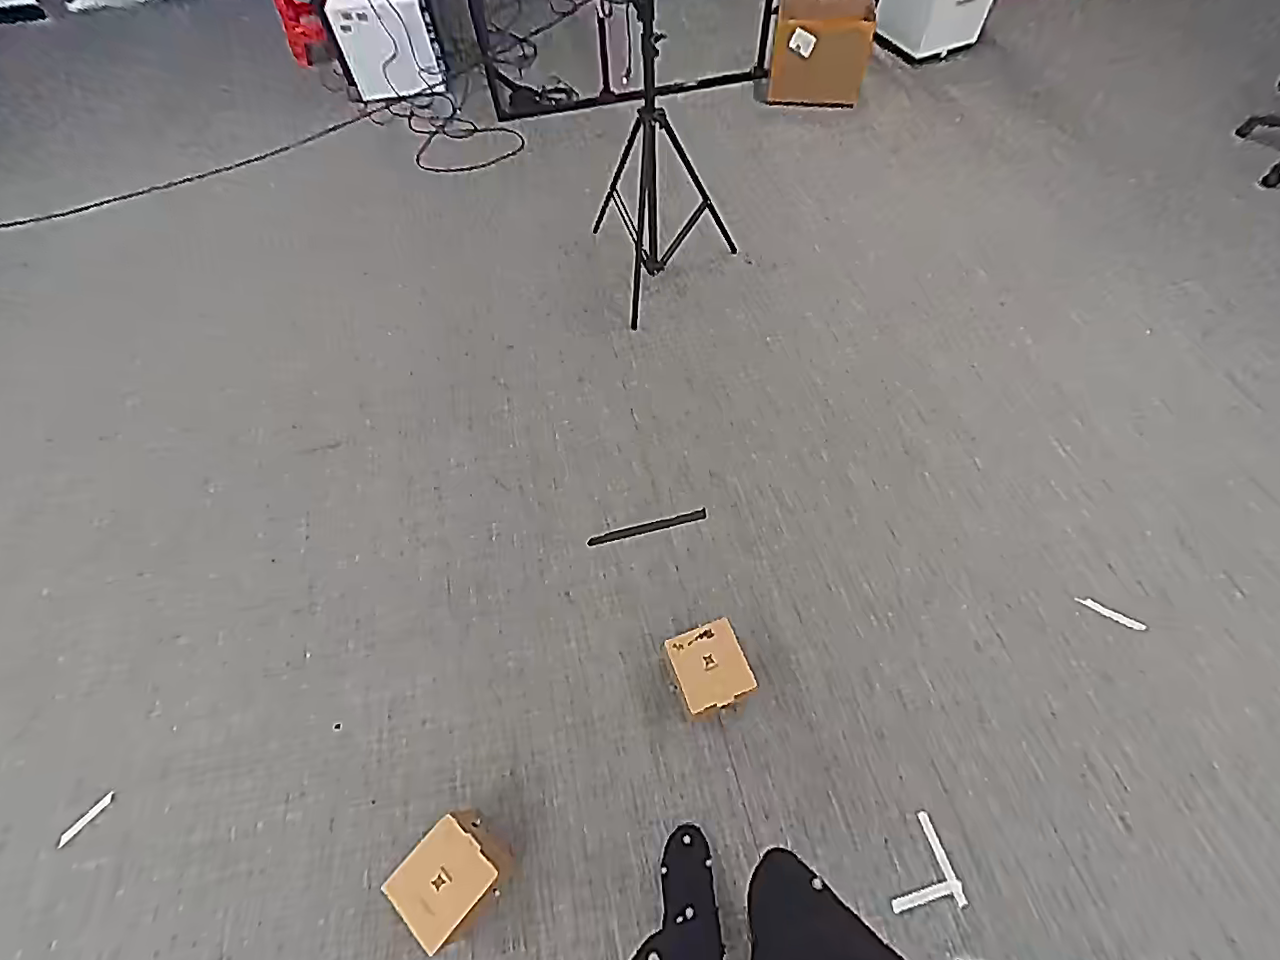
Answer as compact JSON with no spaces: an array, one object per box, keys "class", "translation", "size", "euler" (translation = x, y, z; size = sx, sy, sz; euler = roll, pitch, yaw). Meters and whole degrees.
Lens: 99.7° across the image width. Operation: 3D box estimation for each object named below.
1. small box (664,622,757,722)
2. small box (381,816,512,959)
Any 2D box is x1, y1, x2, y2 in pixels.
[{"class":"small box","translation":[0.164,0.472,1.312],"size":[0.168,0.176,0.179],"euler":[-18,61,-9]},{"class":"small box","translation":[-0.389,0.835,1.126],"size":[0.168,0.176,0.179],"euler":[35,68,22]}]
